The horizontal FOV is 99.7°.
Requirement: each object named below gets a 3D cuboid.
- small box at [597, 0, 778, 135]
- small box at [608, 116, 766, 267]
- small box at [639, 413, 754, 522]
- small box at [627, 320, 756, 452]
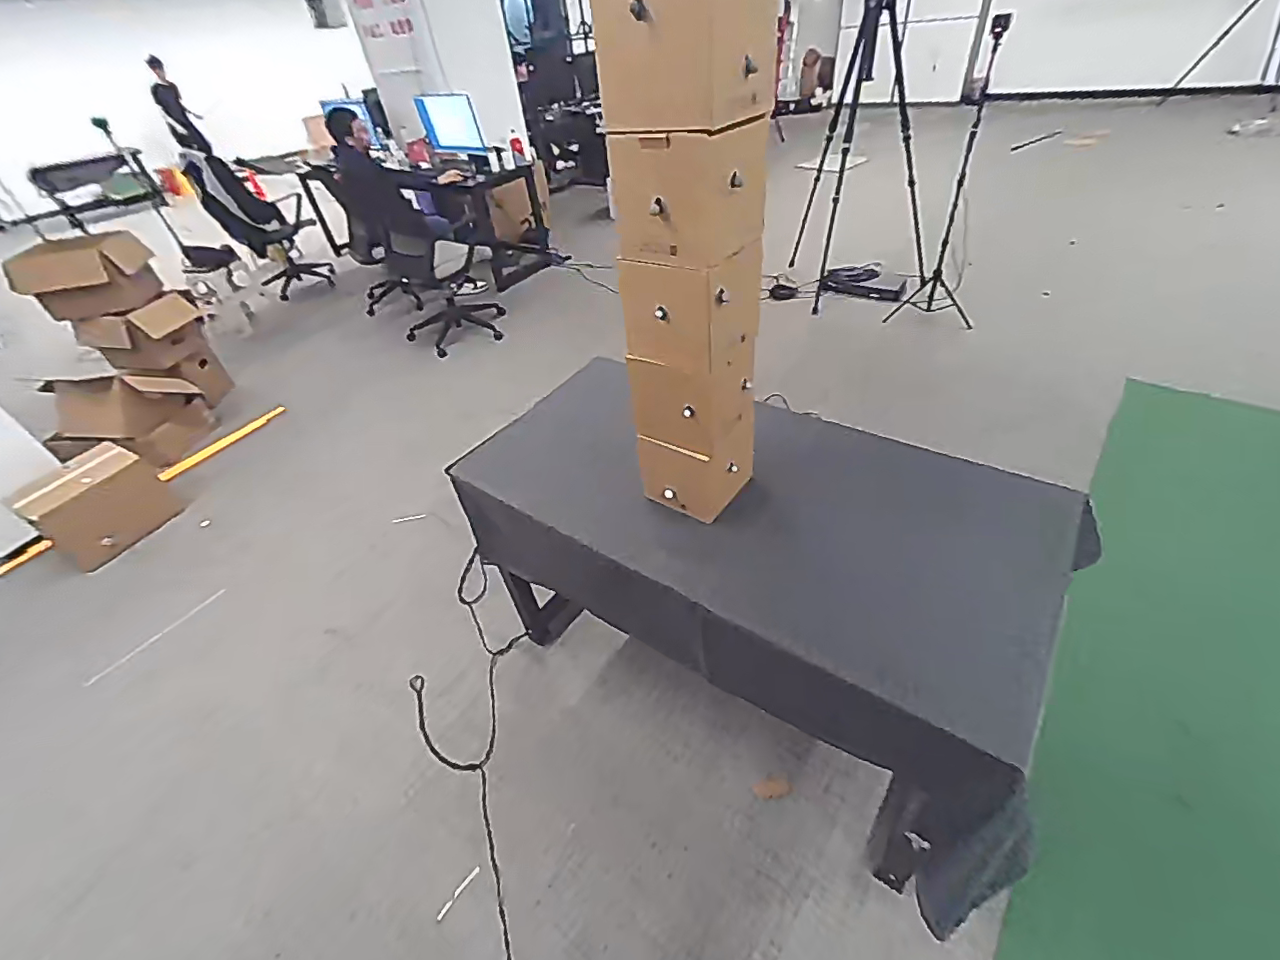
[{"bbox_3d":[0.061,-0.558,0.701,0.179,0.176,0.168,22,47,31],"label":"small box"},{"bbox_3d":[0.078,-0.434,0.810,0.168,0.176,0.179,21,48,30],"label":"small box"},{"bbox_3d":[0.118,-0.047,1.108,0.168,0.176,0.179,23,50,32],"label":"small box"},{"bbox_3d":[0.099,-0.174,1.007,0.179,0.176,0.168,21,47,30],"label":"small box"}]
